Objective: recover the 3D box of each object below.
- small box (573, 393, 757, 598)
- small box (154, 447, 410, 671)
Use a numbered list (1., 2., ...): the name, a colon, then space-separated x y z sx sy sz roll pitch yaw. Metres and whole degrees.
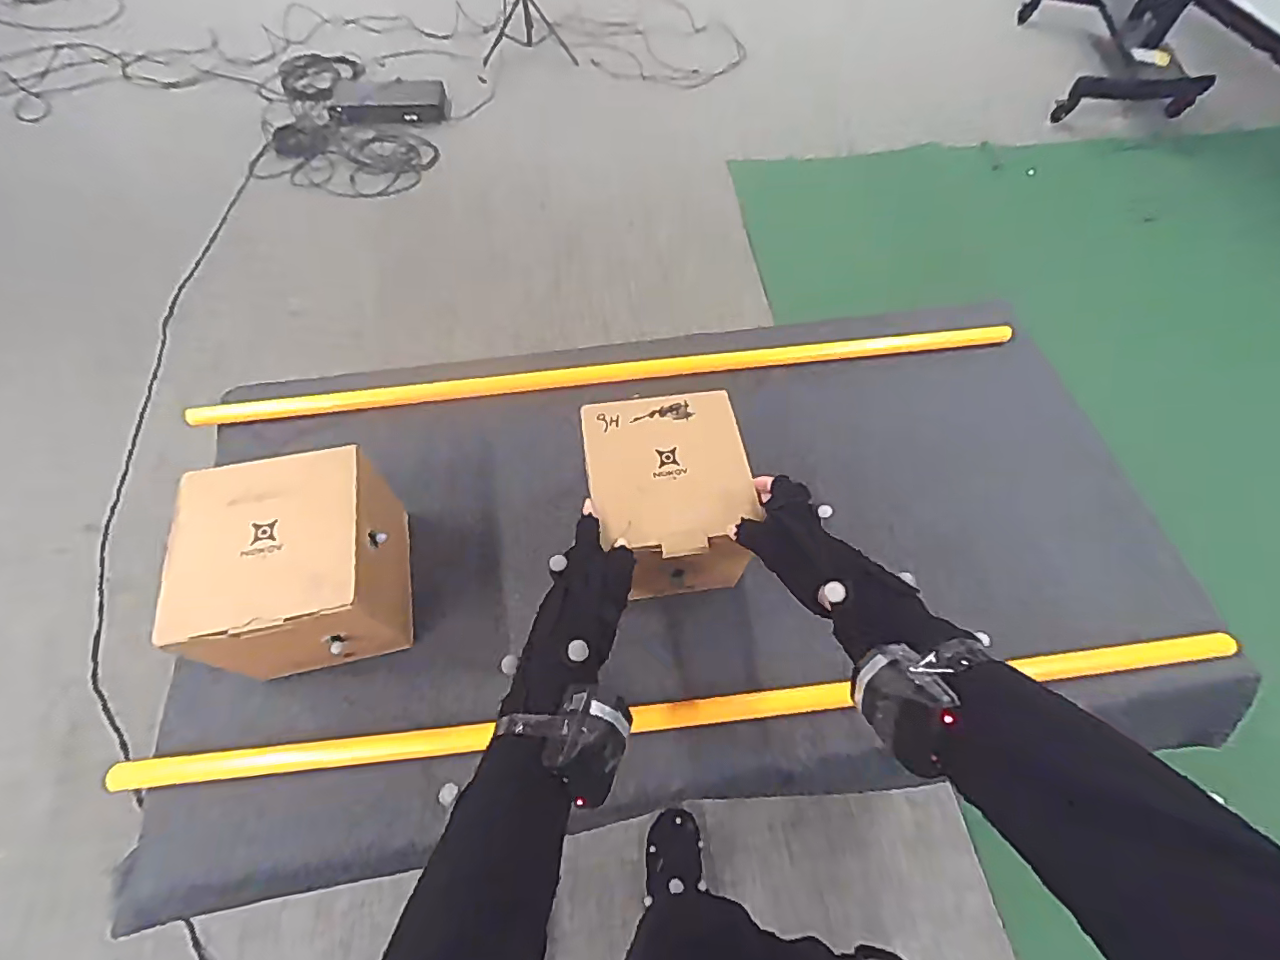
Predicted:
1. small box: 0.021 0.028 0.628 0.168 0.176 0.179 -10 61 -6
2. small box: -0.355 0.093 0.577 0.168 0.176 0.179 -10 60 -9
